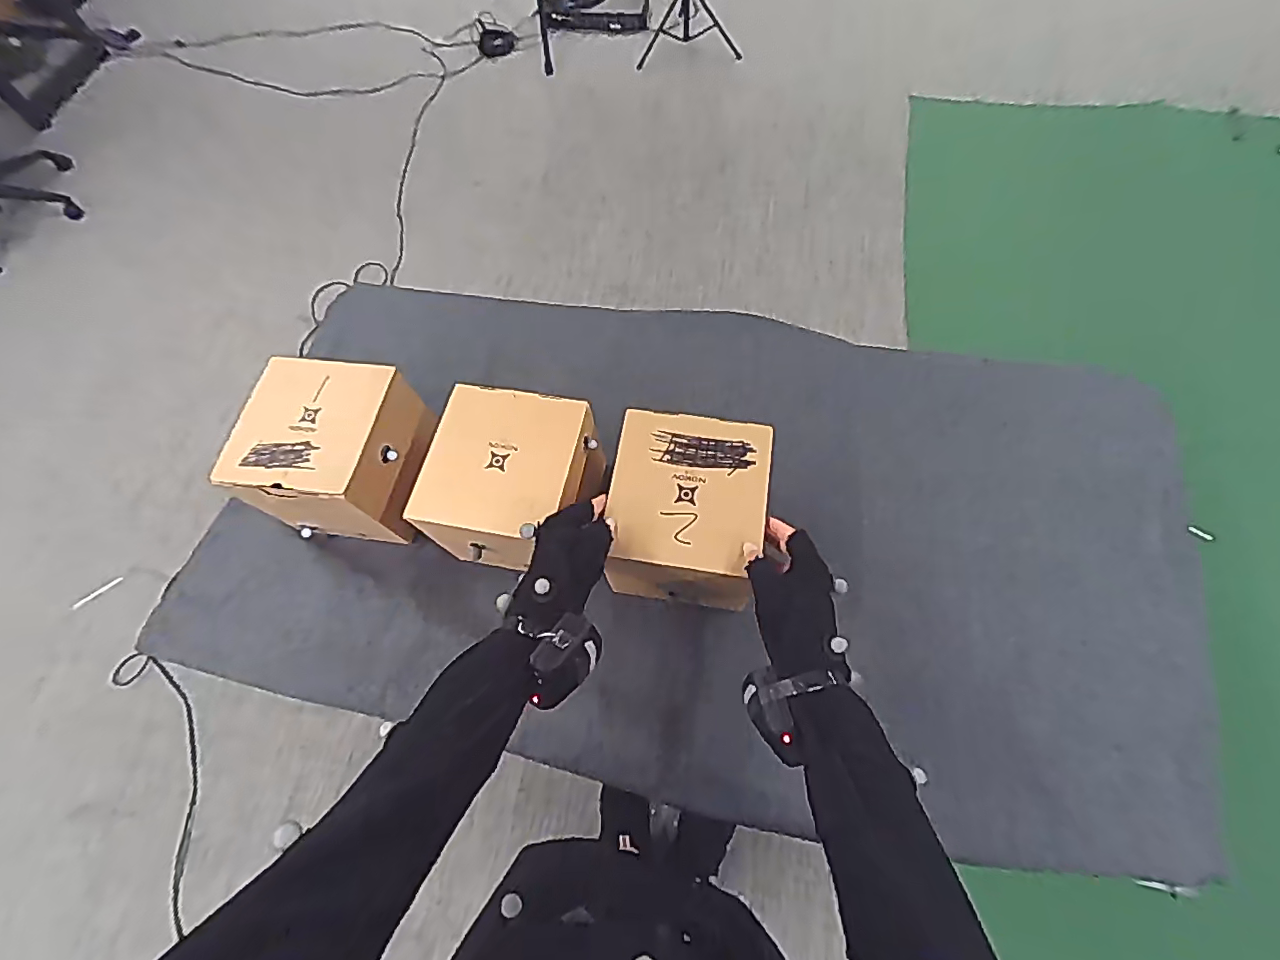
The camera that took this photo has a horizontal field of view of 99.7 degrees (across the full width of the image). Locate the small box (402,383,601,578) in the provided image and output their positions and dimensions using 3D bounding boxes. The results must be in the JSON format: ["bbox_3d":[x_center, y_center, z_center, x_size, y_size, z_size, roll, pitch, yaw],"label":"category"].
[{"bbox_3d":[-0.151,0.008,0.663,0.168,0.176,0.179,9,65,8],"label":"small box"}]

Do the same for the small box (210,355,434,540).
[{"bbox_3d":[-0.381,-0.034,0.696,0.168,0.176,0.179,6,65,6],"label":"small box"}]
